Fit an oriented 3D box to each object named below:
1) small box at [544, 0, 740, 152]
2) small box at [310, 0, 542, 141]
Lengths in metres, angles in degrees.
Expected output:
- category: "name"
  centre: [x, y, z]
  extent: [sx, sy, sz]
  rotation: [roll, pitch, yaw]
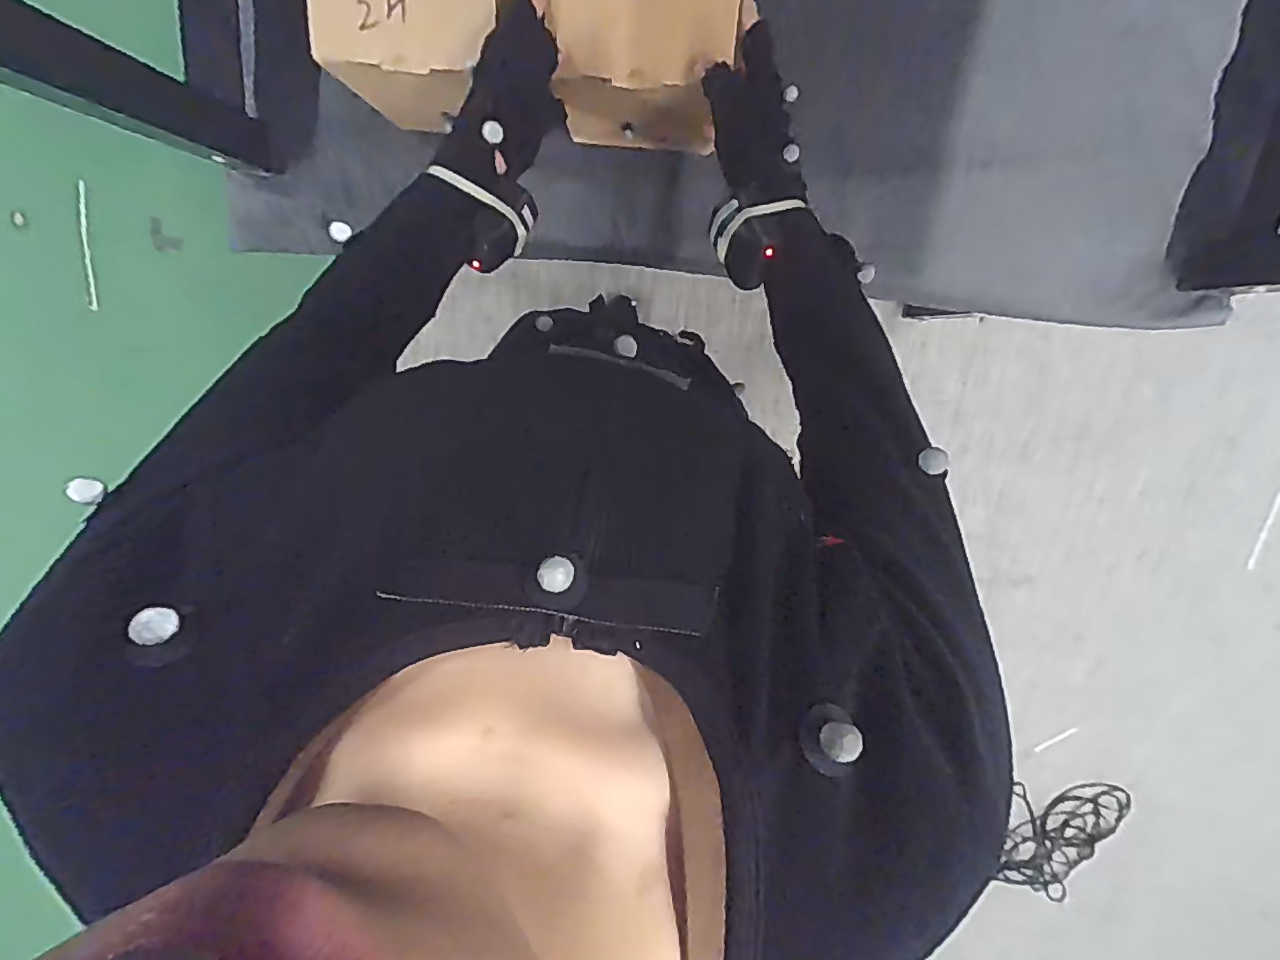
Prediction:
- category: "small box"
  centre: [0.007, -0.451, 0.527]
  extent: [0.168, 0.176, 0.179]
  rotation: [6, 106, 1]
- category: "small box"
  centre: [-0.196, -0.468, 0.533]
  extent: [0.168, 0.176, 0.179]
  rotation: [5, 105, 1]
